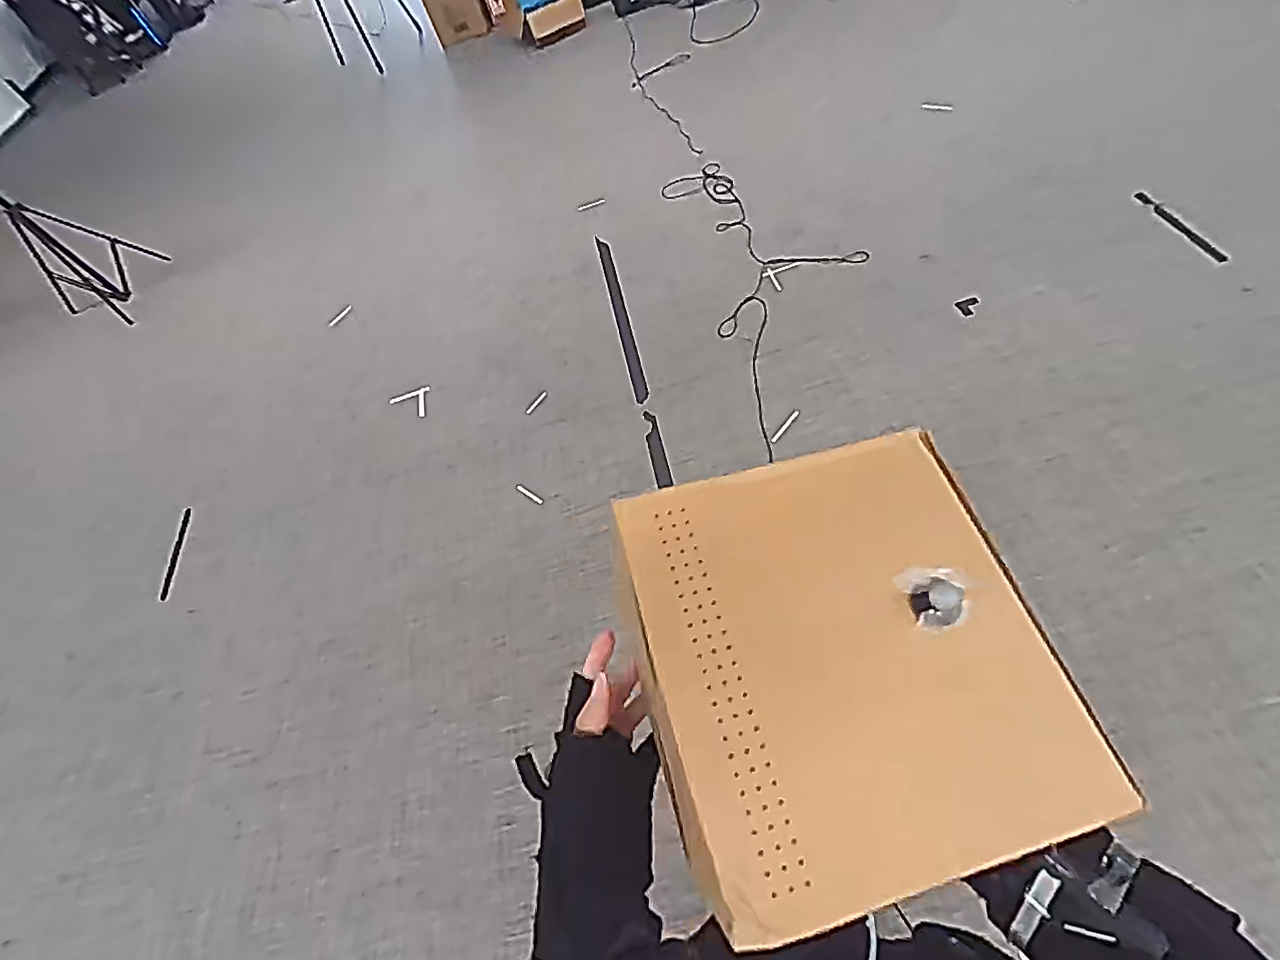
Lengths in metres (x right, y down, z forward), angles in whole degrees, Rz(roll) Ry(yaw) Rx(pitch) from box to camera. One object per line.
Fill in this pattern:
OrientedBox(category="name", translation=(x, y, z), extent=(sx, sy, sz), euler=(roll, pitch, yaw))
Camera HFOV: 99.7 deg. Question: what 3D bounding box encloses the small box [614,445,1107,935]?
OrientedBox(category="small box", translation=(0.084, 0.109, 0.311), extent=(0.176, 0.168, 0.179), euler=(-13, 64, -7))
